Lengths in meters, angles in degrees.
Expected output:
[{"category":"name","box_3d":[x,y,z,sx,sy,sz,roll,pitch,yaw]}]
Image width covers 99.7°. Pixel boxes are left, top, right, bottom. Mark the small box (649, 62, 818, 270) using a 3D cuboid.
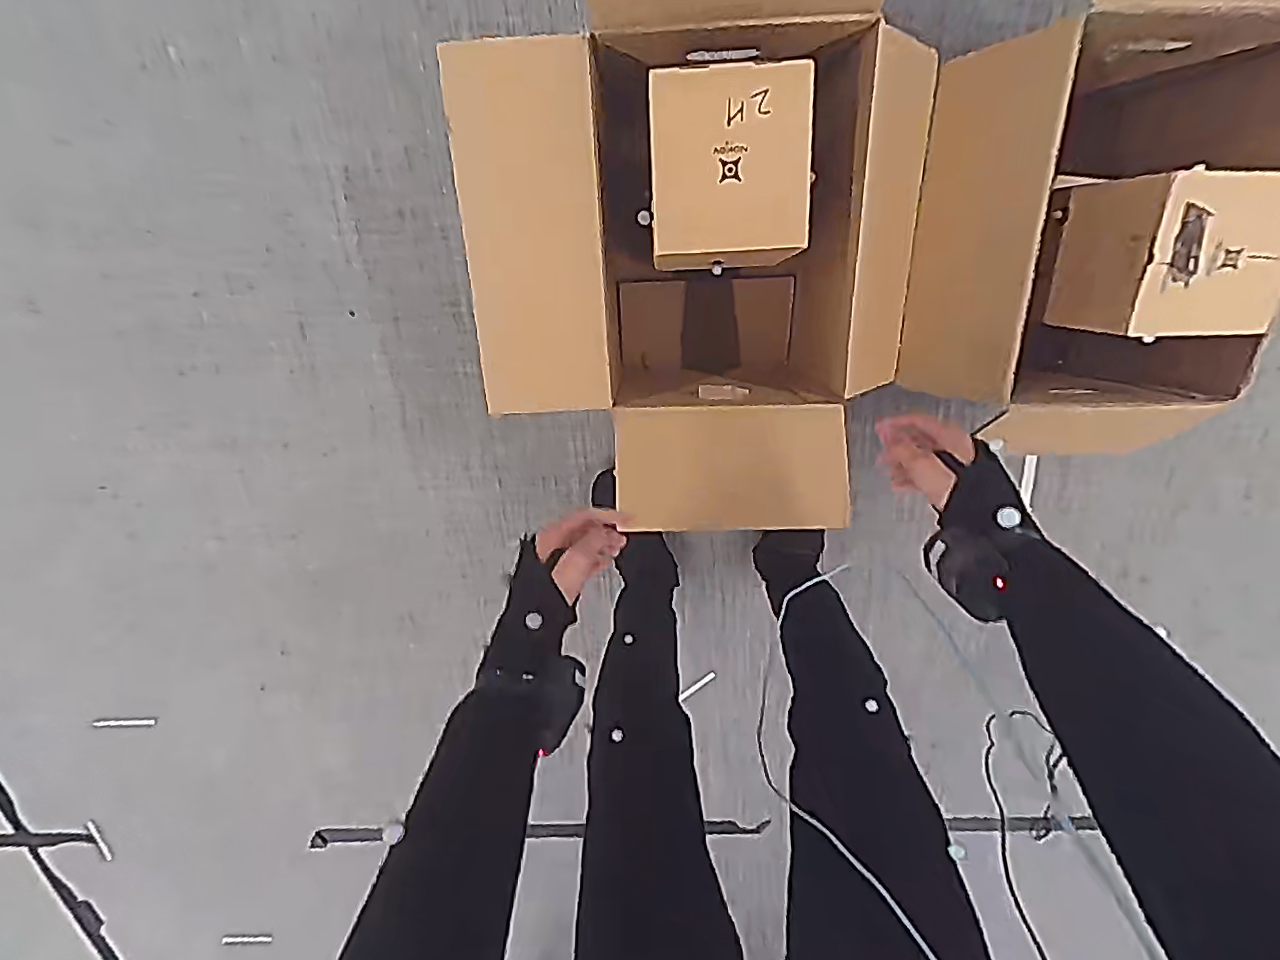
[{"category":"small box","box_3d":[0.097,-0.342,0.626,0.168,0.176,0.179,-2,106,2]}]
